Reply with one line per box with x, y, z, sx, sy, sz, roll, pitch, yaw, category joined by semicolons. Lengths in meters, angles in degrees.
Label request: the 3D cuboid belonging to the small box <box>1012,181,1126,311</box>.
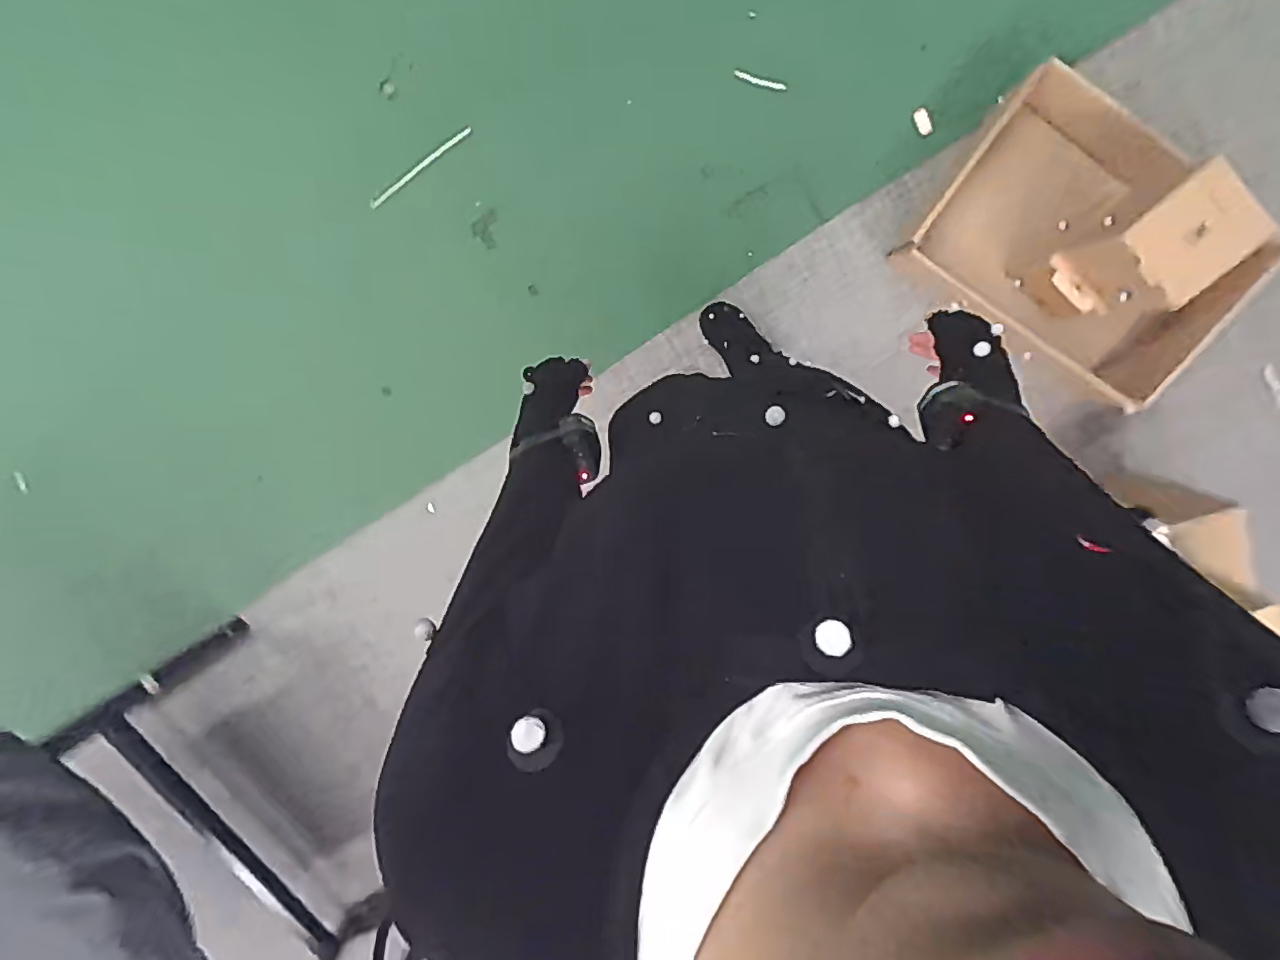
0.927;-0.474;1.129;0.168;0.176;0.179;41;104;-5;small box

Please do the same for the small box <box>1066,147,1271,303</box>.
0.922;-0.439;0.971;0.168;0.176;0.179;44;103;-7;small box
